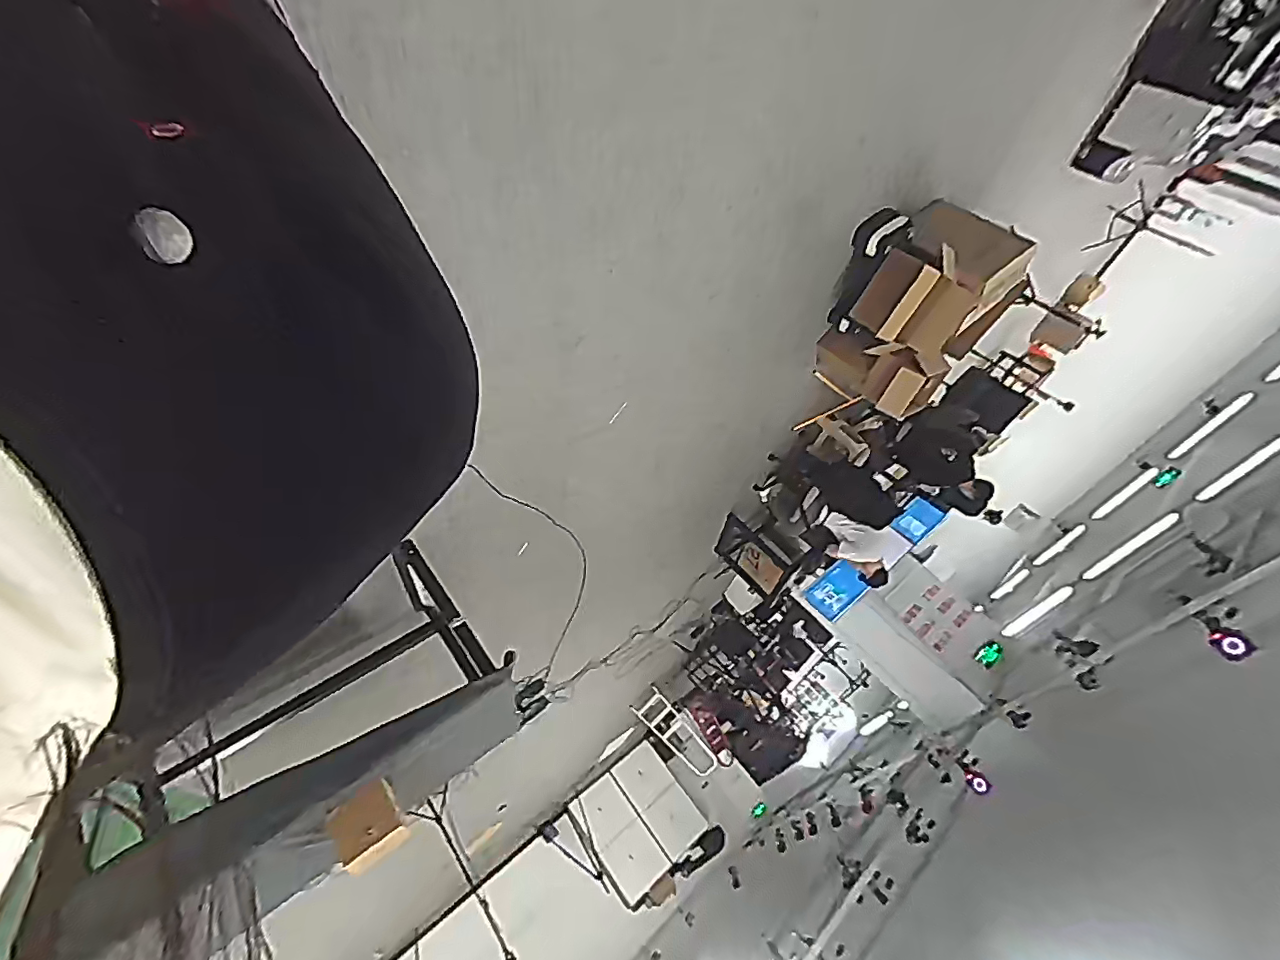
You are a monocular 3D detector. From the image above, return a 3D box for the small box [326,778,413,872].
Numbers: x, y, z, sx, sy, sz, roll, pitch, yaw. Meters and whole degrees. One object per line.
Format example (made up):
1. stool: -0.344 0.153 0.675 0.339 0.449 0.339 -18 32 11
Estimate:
1. small box: -0.836 1.065 1.677 0.179 0.176 0.168 -28 149 -30
